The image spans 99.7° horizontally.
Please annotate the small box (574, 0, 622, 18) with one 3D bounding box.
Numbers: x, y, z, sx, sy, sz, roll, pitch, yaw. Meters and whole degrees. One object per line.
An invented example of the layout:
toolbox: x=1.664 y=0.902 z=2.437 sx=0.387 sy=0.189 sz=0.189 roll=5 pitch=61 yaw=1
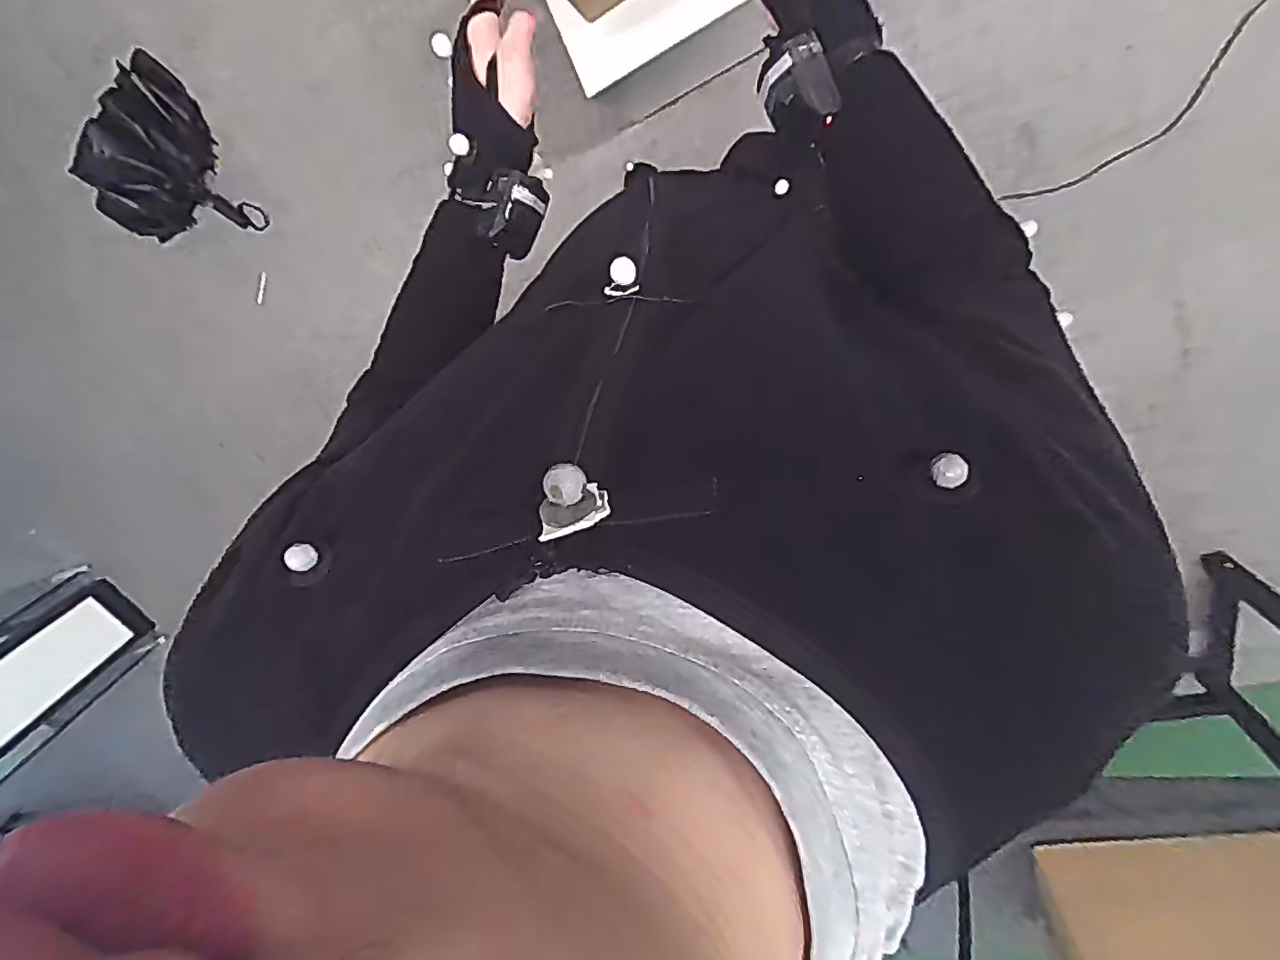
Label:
small box: x=-0.042 y=-0.635 z=0.558 sx=0.168 sy=0.176 sz=0.179 roll=-20 pitch=117 yaw=18
